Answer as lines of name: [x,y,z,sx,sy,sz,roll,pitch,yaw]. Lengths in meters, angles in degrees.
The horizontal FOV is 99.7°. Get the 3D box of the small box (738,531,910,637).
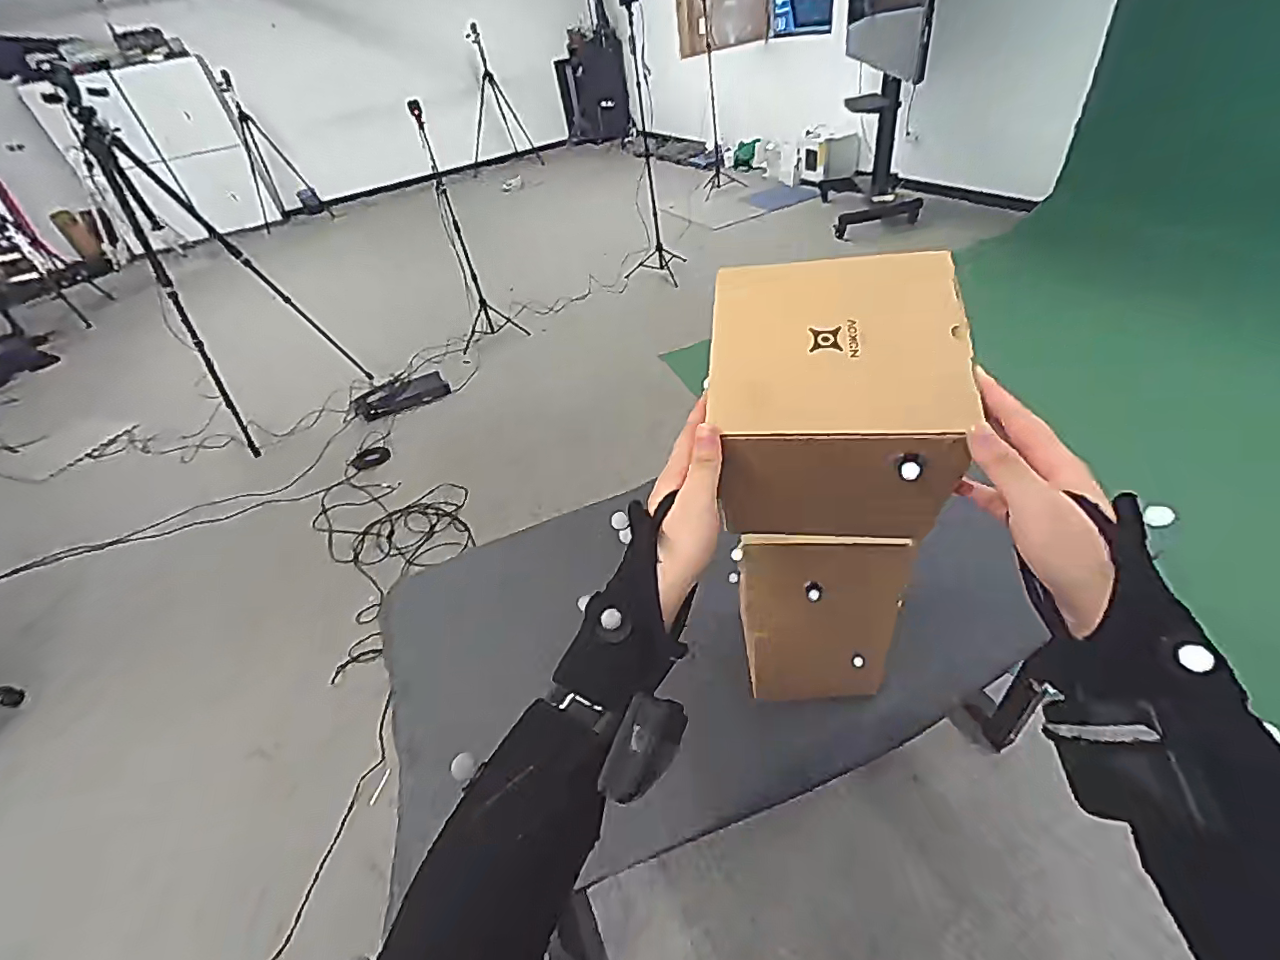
small box: [0.216,0.081,0.678,0.179,0.176,0.168,-2,40,13]

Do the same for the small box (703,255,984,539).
small box: [0.154,-0.058,0.454,0.179,0.176,0.168,0,60,14]
